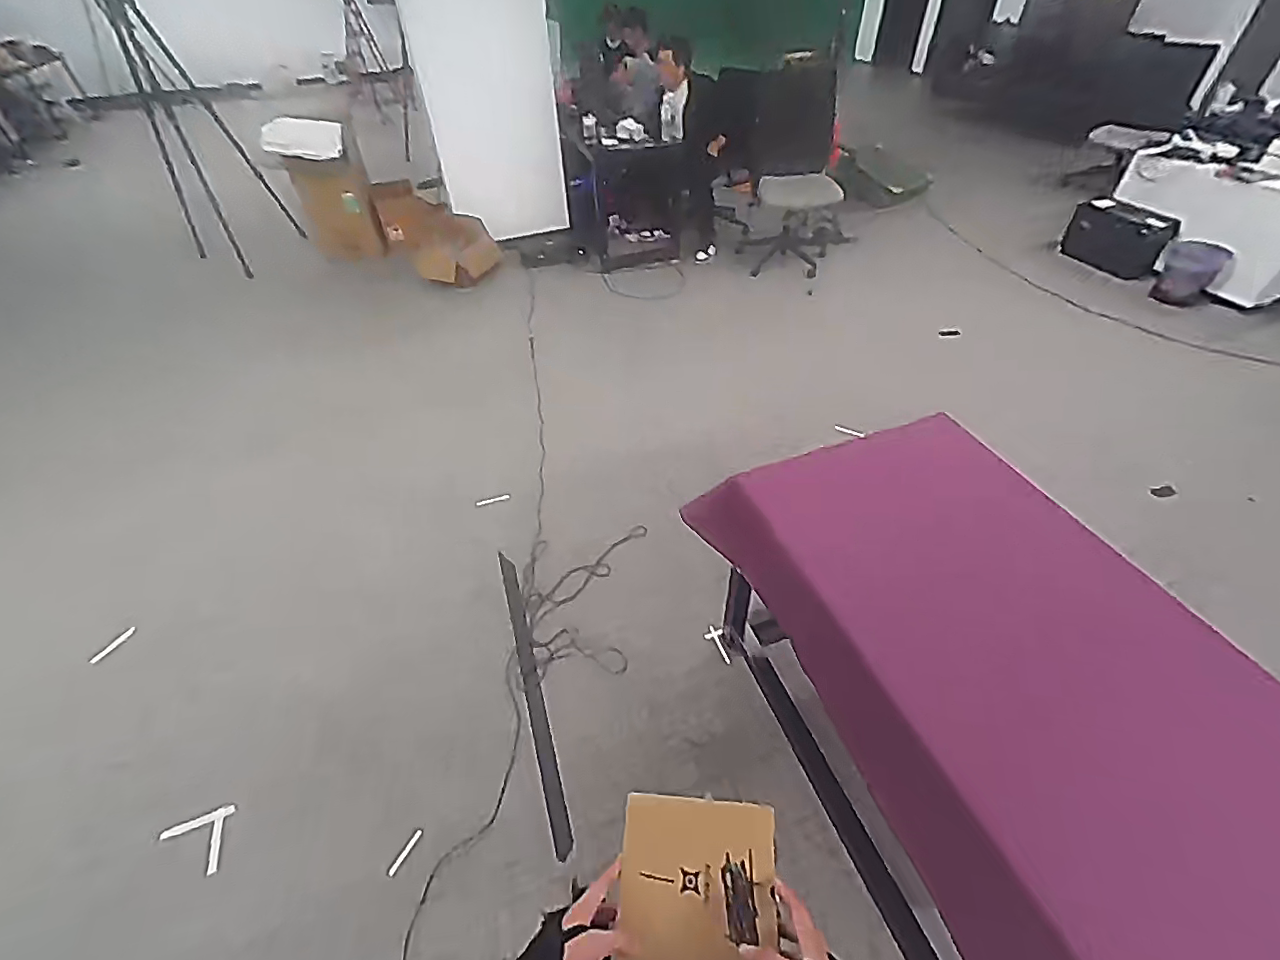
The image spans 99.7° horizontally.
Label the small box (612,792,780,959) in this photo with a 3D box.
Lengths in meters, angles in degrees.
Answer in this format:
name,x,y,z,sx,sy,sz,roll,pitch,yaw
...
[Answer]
name,x,y,z,sx,sy,sz,roll,pitch,yaw
small box,0.069,0.498,0.663,0.179,0.176,0.168,3,52,7
